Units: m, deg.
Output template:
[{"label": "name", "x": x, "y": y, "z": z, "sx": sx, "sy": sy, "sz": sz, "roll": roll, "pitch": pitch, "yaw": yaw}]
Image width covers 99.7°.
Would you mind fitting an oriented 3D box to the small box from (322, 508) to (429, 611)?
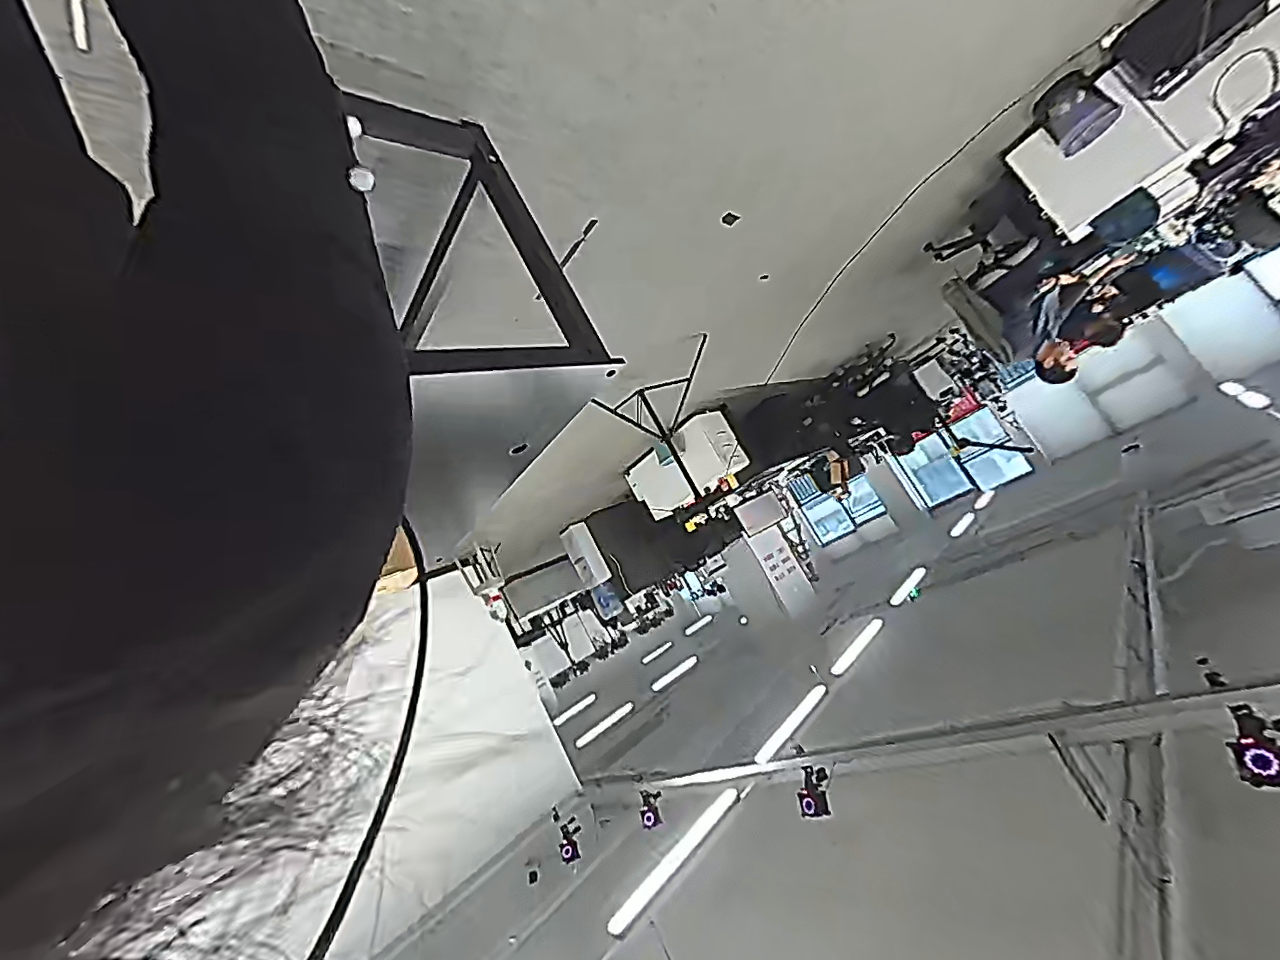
[{"label": "small box", "x": -0.635, "y": 0.181, "z": 1.288, "sx": 0.168, "sy": 0.176, "sz": 0.179, "roll": -20, "pitch": 165, "yaw": -42}]
